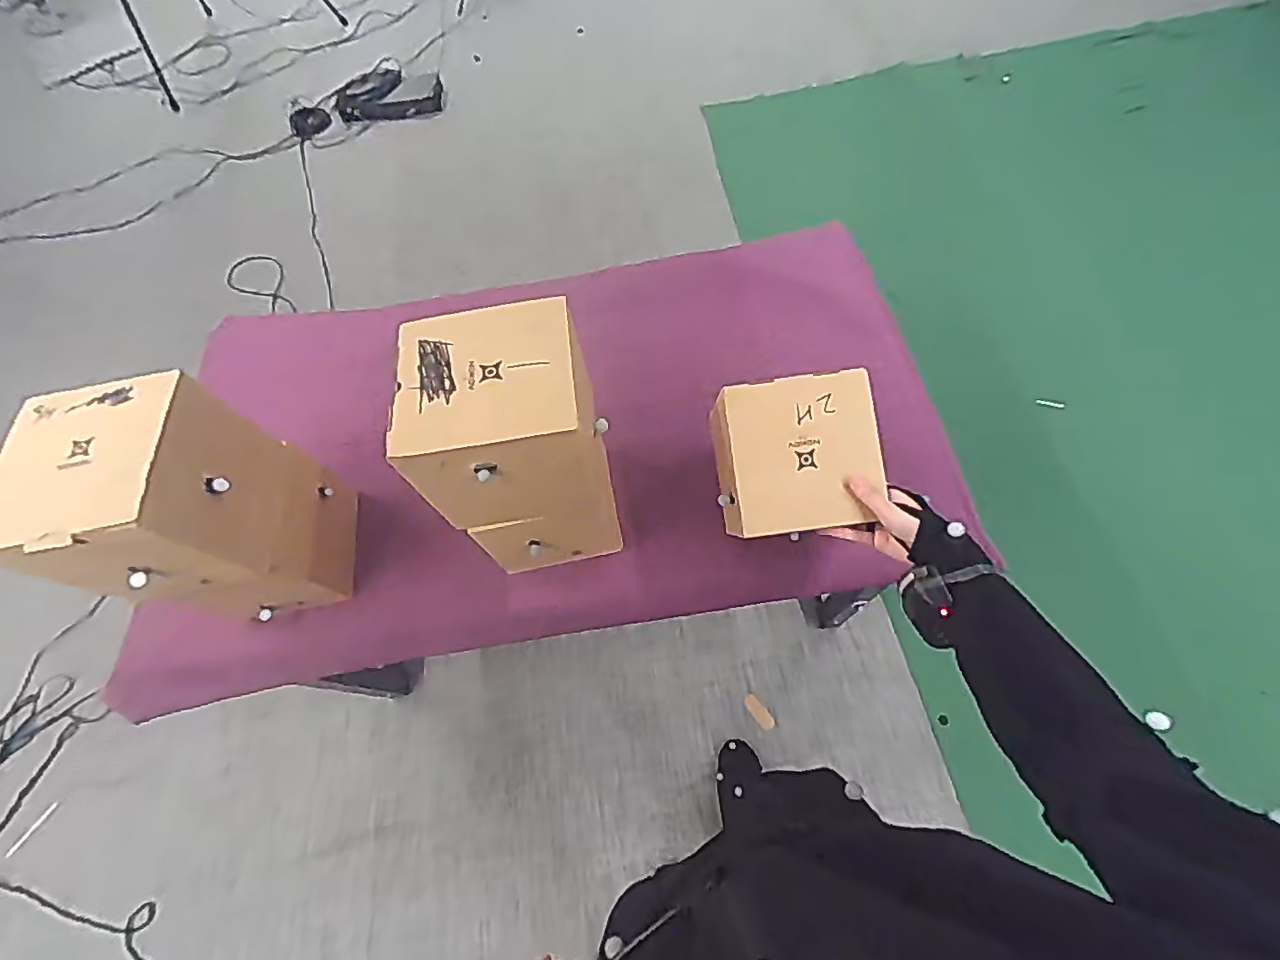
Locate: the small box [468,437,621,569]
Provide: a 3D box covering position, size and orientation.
[{"bbox_3d":[-0.125,0.010,0.733,0.168,0.176,0.179,-12,61,0],"label":"small box"}]

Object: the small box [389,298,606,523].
[{"bbox_3d":[-0.141,-0.065,0.587,0.179,0.176,0.168,-9,62,1],"label":"small box"}]

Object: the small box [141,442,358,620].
[{"bbox_3d":[-0.509,0.075,0.735,0.168,0.176,0.179,-11,63,0],"label":"small box"}]

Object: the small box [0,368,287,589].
[{"bbox_3d":[-0.520,0.010,0.585,0.168,0.176,0.179,-10,63,0],"label":"small box"}]

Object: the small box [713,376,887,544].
[{"bbox_3d":[0.189,-0.019,0.685,0.168,0.176,0.179,-7,86,2],"label":"small box"}]
